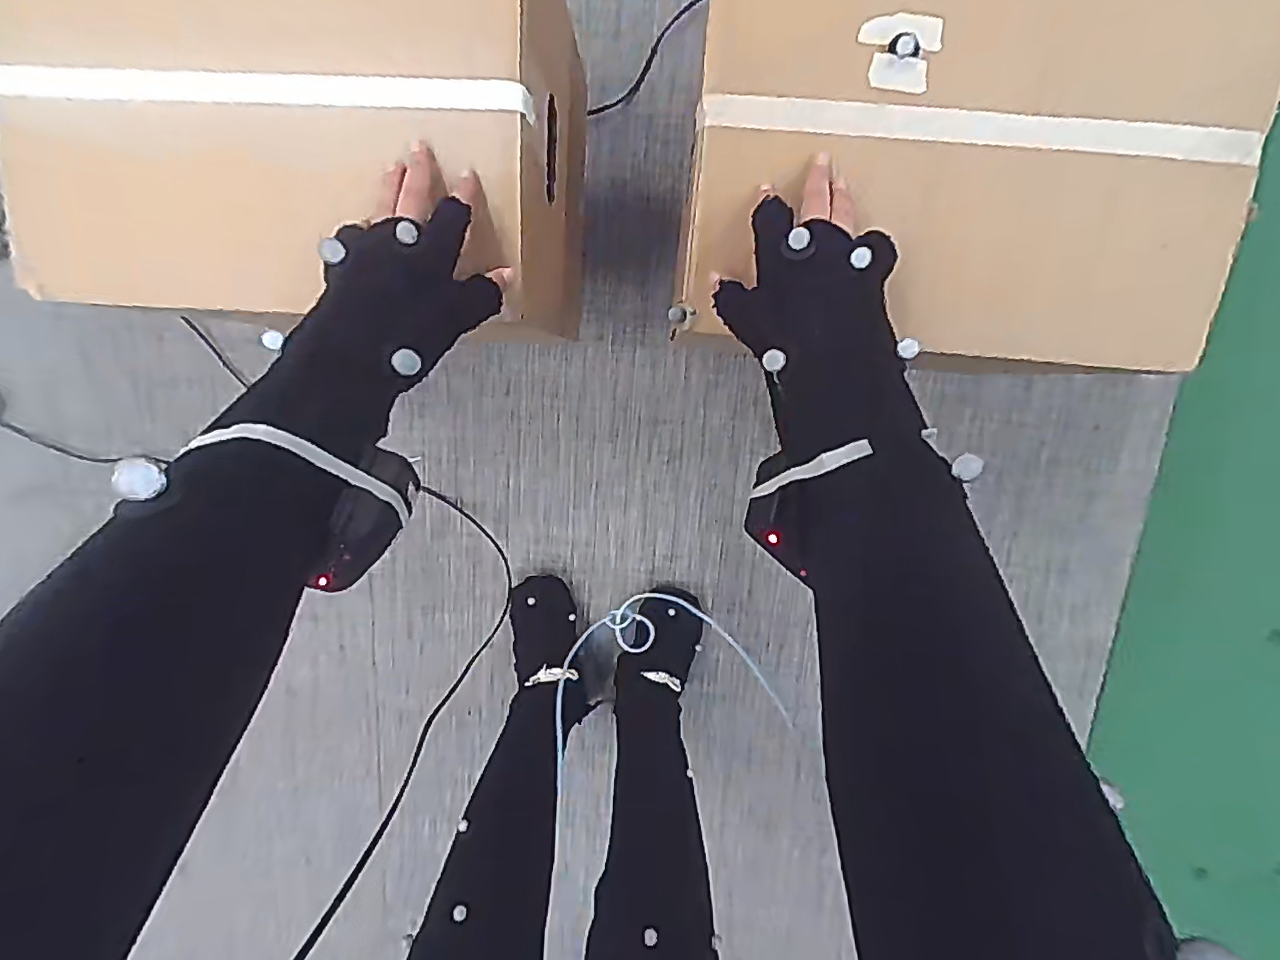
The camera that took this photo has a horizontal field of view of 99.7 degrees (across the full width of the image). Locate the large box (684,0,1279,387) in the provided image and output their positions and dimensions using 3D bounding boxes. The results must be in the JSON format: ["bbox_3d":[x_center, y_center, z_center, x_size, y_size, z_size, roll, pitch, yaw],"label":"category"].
[{"bbox_3d":[0.264,-0.275,0.570,0.408,0.320,0.320,6,101,2],"label":"large box"}]
